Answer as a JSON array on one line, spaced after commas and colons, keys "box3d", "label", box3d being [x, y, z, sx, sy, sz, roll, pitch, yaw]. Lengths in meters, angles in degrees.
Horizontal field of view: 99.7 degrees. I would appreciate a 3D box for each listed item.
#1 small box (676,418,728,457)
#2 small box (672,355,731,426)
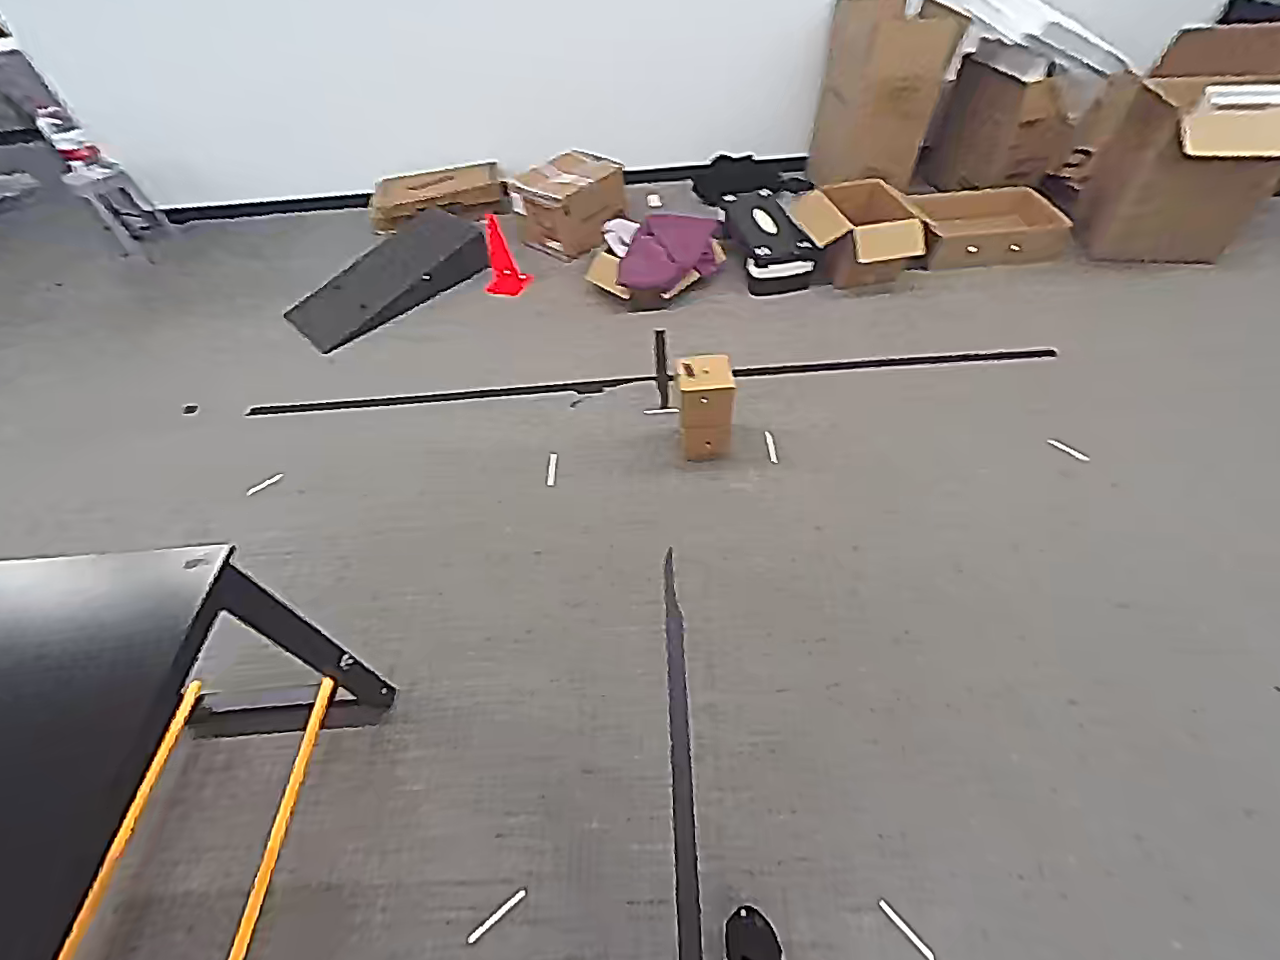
[{"box3d": [0.219, -0.195, 1.942, 0.168, 0.176, 0.179, -6, 52, 0], "label": "small box"}, {"box3d": [0.202, -0.296, 1.812, 0.179, 0.176, 0.168, -5, 51, 0], "label": "small box"}]
